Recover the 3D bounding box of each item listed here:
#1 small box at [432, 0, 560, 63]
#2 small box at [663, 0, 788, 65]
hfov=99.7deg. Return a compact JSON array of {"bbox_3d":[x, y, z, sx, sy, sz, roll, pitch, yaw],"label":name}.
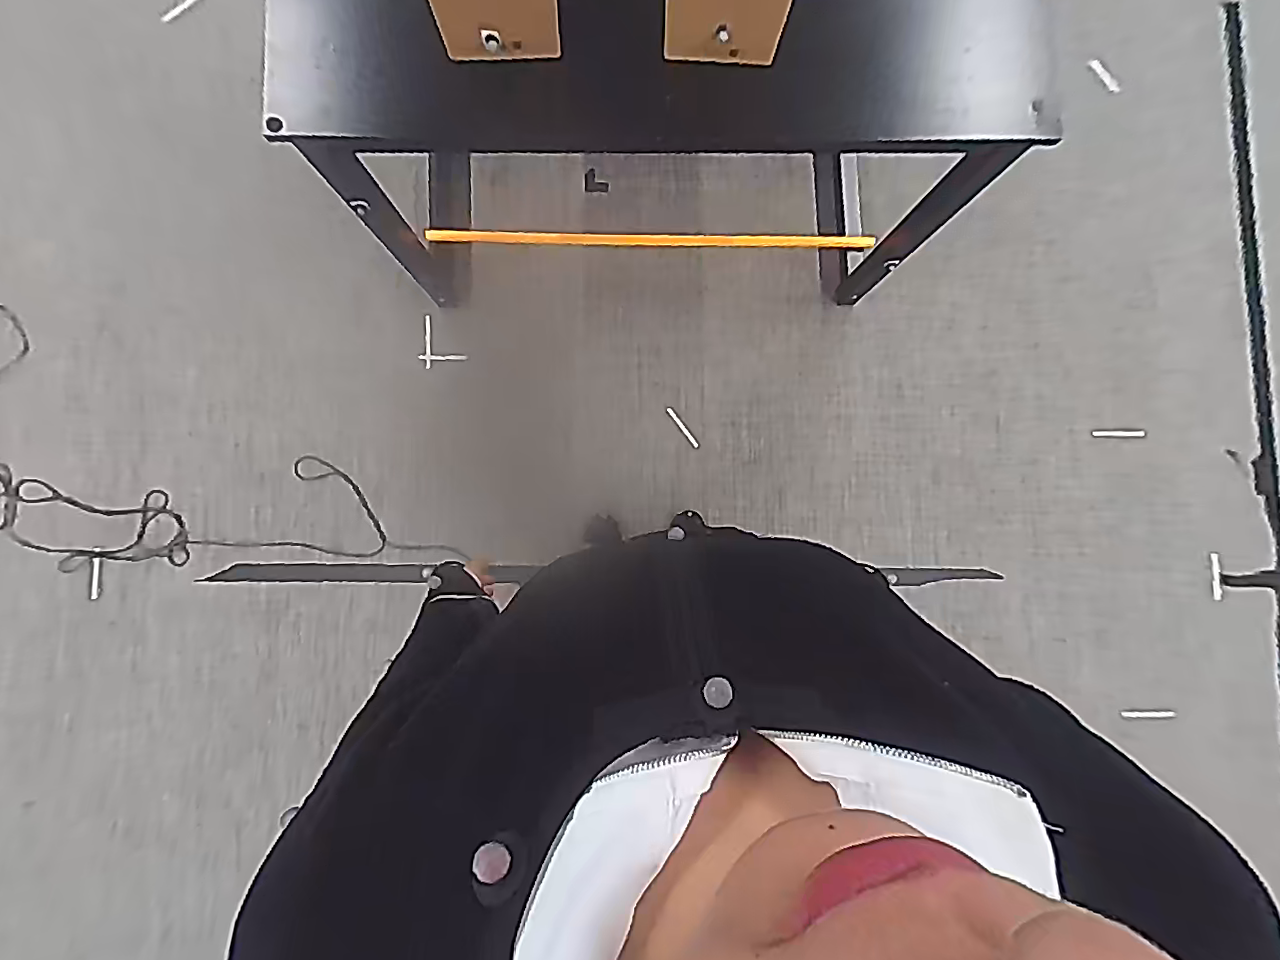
[{"bbox_3d":[-0.206,-0.721,0.738,0.168,0.176,0.179,-5,88,-1],"label":"small box"},{"bbox_3d":[0.121,-0.729,0.748,0.168,0.176,0.179,2,87,-2],"label":"small box"}]
